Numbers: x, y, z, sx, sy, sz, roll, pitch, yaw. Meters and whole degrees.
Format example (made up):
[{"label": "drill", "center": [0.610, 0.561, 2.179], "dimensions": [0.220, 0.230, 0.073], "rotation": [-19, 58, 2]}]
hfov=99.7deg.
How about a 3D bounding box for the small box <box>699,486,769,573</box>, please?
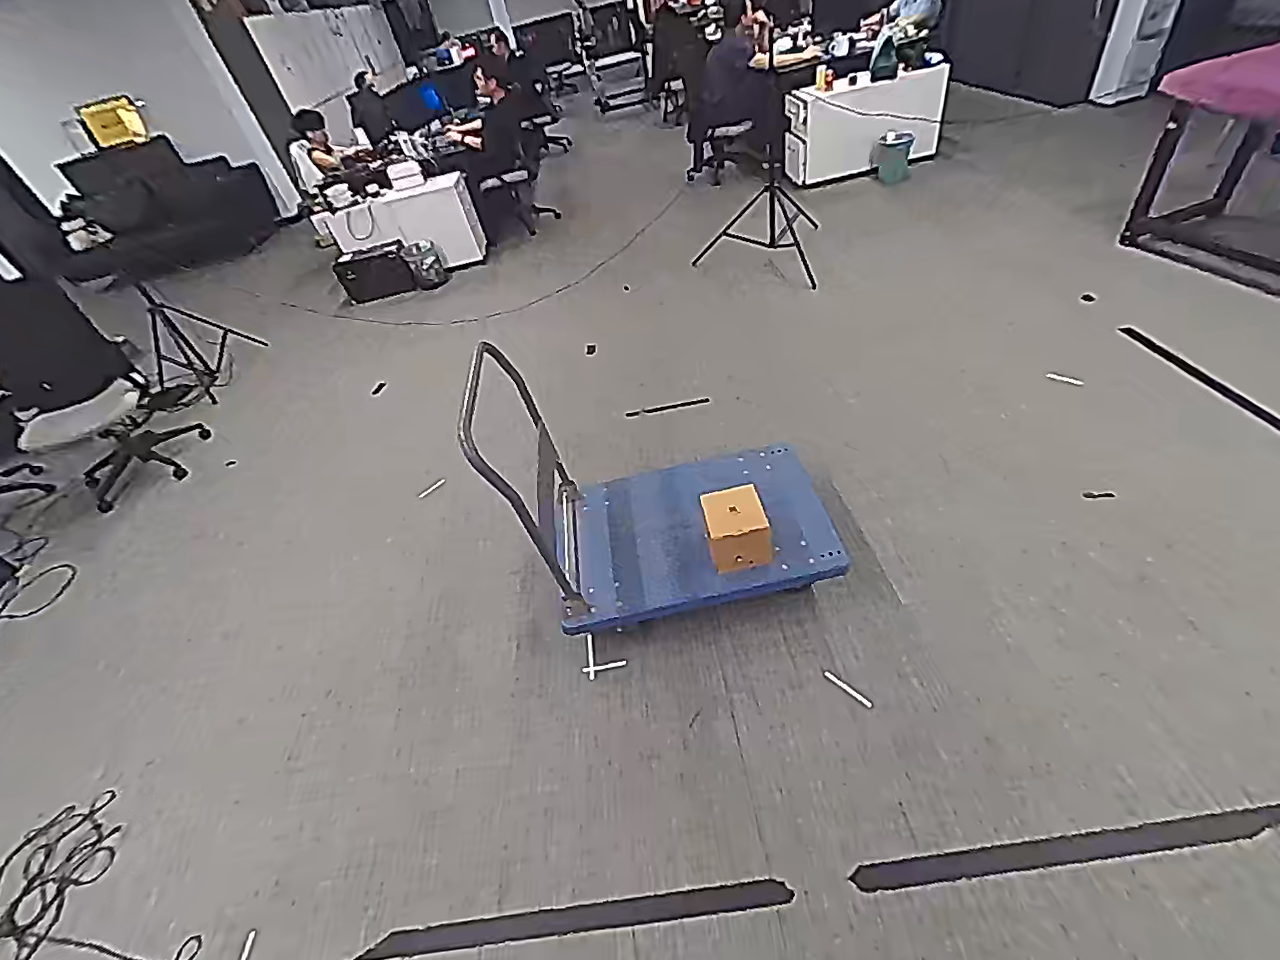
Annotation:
[{"label": "small box", "center": [0.279, 0.147, 1.607], "dimensions": [0.168, 0.176, 0.179], "rotation": [-13, 43, 2]}]
